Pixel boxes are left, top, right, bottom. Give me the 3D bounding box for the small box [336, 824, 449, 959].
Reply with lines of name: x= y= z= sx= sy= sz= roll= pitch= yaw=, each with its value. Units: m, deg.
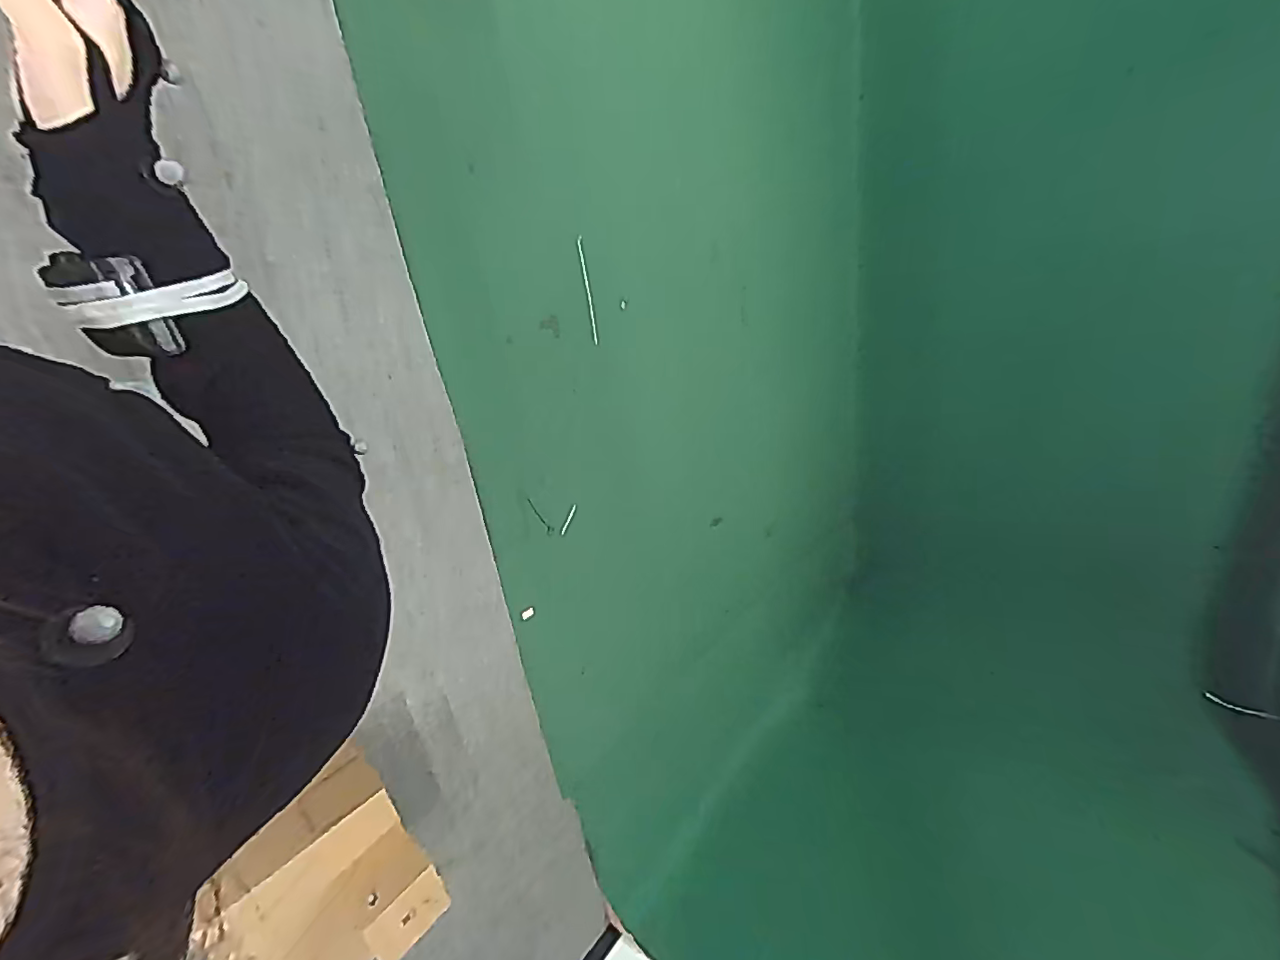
small box: x=-0.595 y=0.981 z=1.291 sx=0.179 sy=0.176 sz=0.168 roll=-32 pitch=124 yaw=-41
